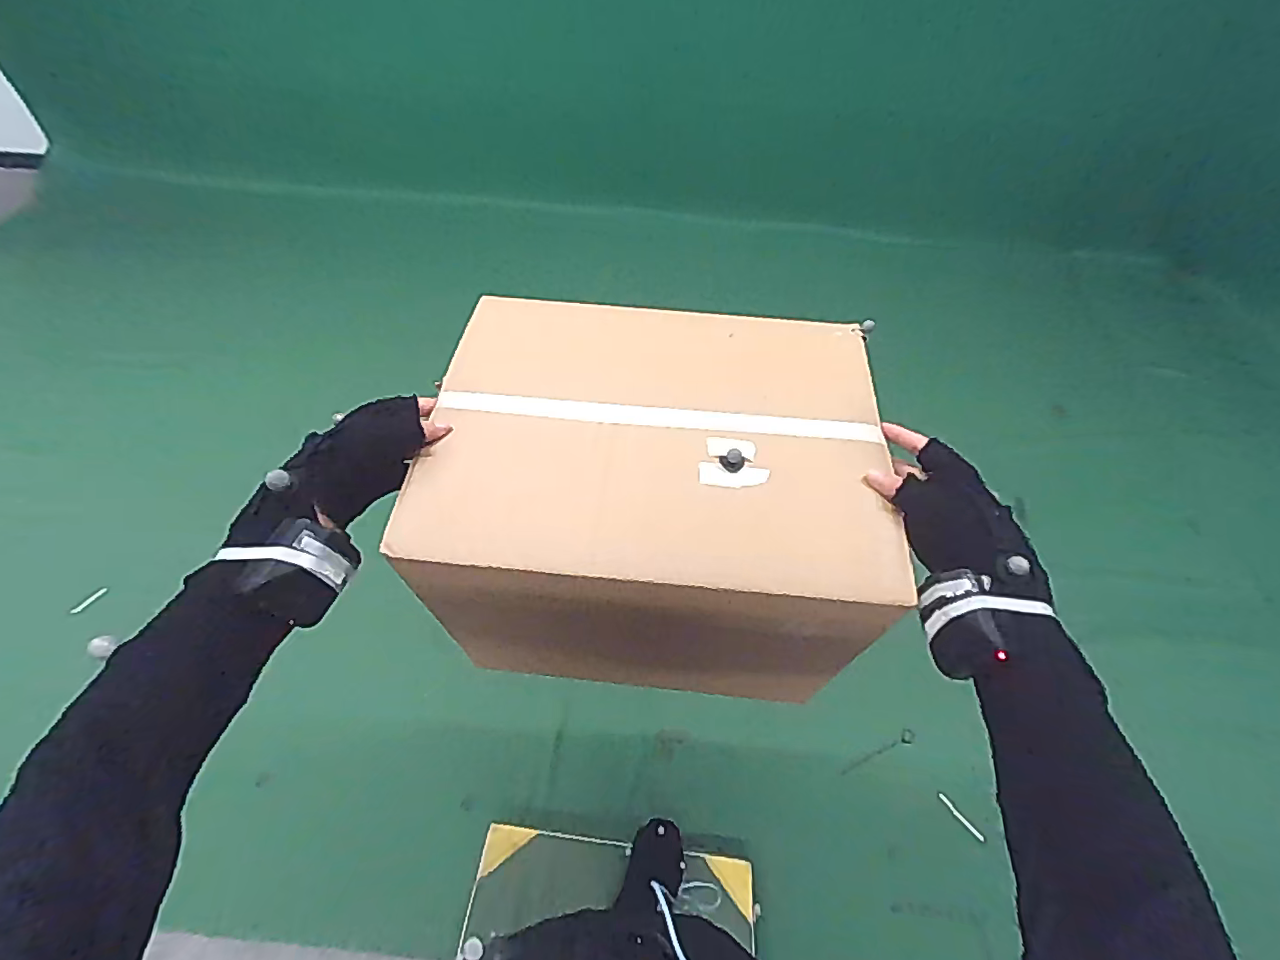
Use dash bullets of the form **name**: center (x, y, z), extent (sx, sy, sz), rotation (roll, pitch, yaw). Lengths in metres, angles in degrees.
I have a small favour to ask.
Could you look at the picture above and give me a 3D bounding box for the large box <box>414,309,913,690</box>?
- **large box**: center (0.022, 0.035, 0.627), extent (0.408, 0.320, 0.320), rotation (5, 56, 1)
